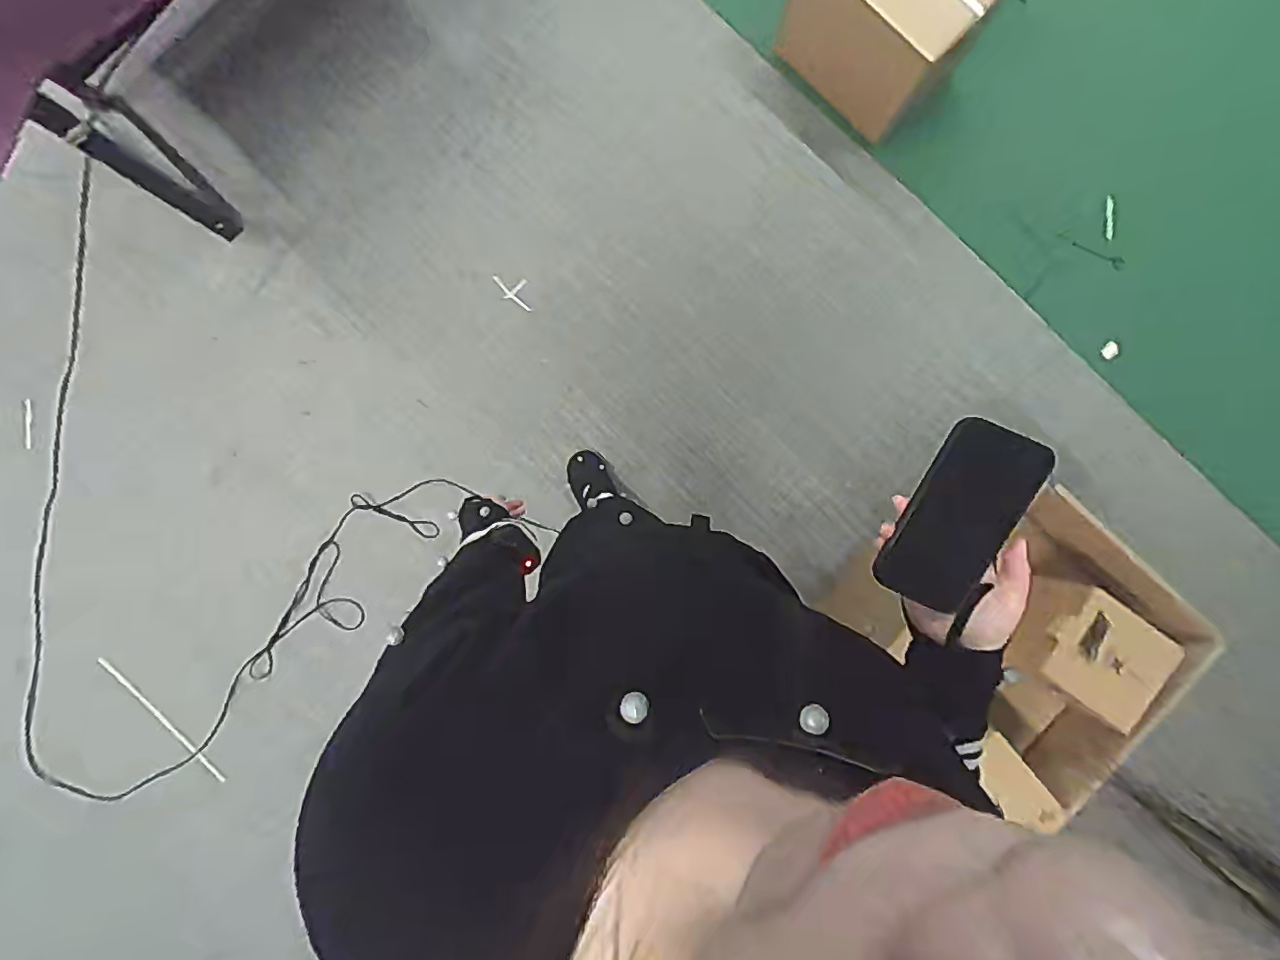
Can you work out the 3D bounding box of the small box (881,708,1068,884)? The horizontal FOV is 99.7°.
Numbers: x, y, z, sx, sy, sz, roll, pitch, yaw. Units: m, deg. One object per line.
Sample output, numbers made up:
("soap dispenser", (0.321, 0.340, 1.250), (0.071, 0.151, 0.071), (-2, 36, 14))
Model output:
("small box", (0.555, 0.520, 0.927), (0.168, 0.176, 0.179), (-39, 87, -1))
